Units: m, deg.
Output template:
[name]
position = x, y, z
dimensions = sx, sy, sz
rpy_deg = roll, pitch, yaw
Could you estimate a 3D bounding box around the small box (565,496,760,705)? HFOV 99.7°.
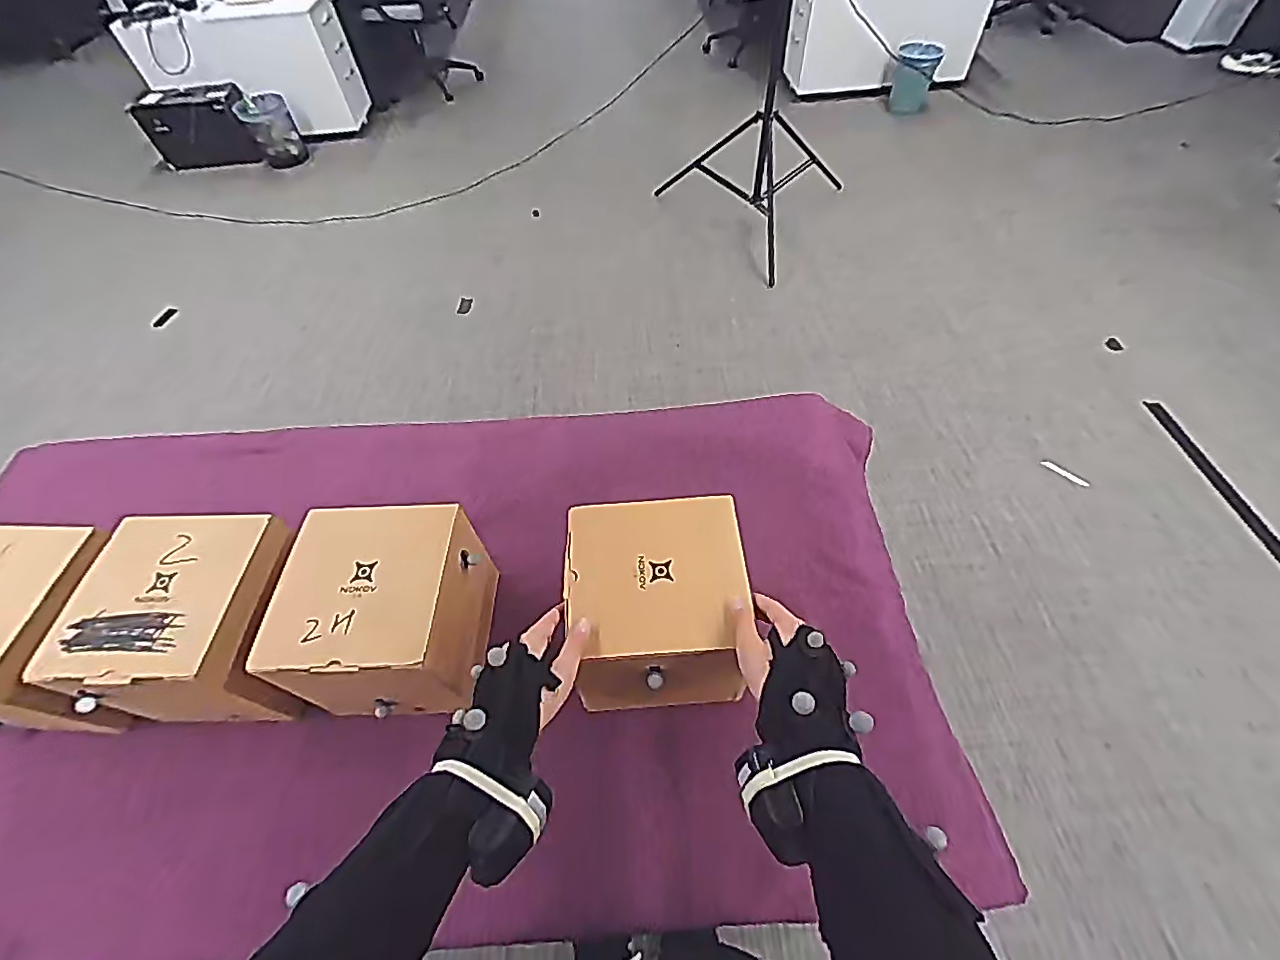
[small box]
position = 0.020, 0.135, 0.588
dimensions = 0.179, 0.176, 0.168
rpy_deg = -5, 53, 1
